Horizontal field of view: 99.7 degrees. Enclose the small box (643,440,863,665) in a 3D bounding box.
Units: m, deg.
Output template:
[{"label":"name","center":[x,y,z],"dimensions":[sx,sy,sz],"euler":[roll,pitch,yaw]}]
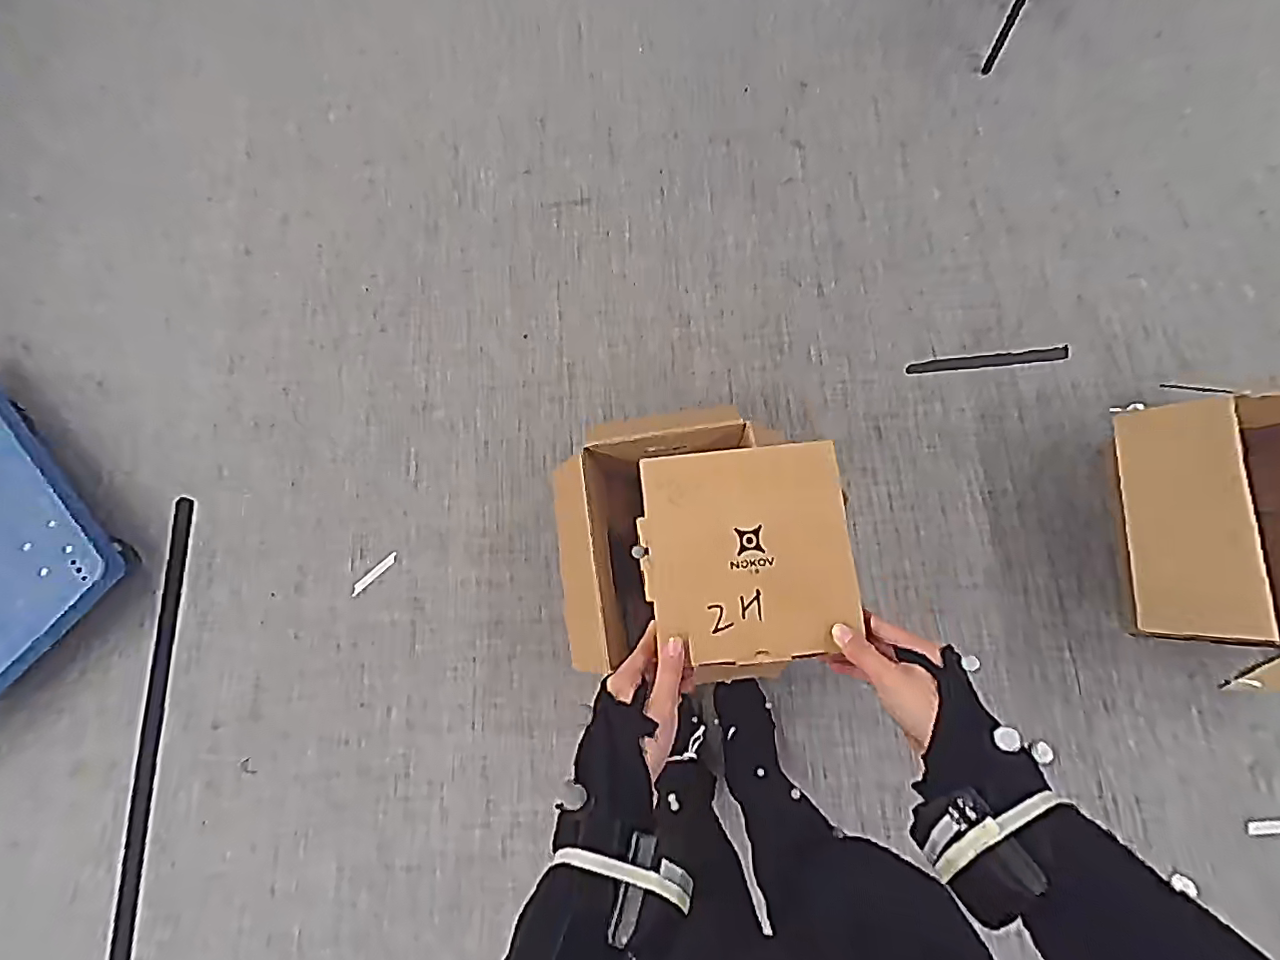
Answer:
[{"label":"small box","center":[0.091,0.073,0.522],"dimensions":[0.168,0.176,0.179],"euler":[-6,78,2]}]
